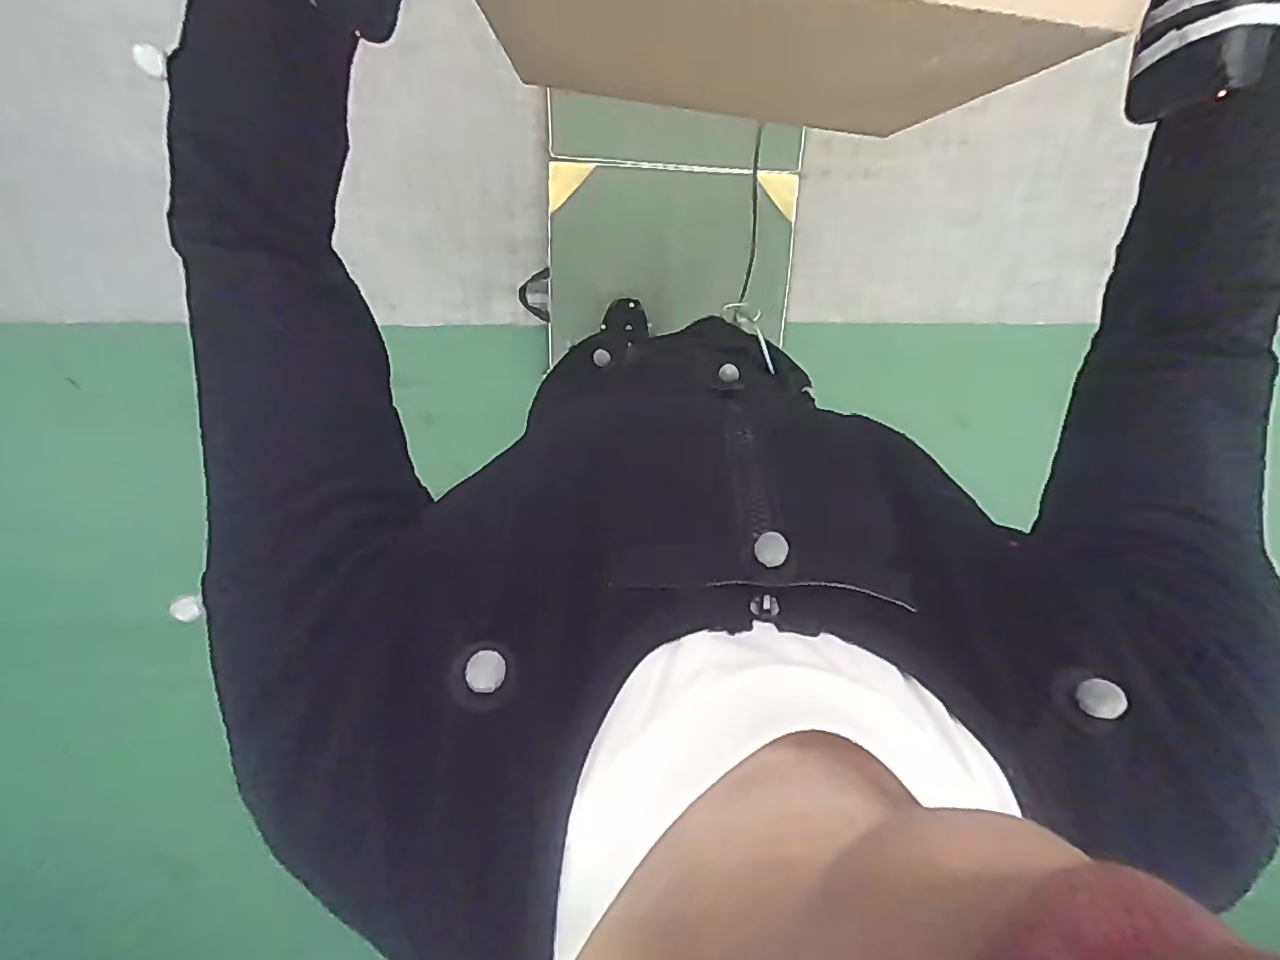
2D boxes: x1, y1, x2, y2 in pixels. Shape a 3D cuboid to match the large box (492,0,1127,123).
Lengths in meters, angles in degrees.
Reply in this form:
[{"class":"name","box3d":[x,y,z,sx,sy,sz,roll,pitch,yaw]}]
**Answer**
[{"class":"large box","box3d":[0.097,-0.486,0.385,0.408,0.320,0.320,4,113,-6]}]
